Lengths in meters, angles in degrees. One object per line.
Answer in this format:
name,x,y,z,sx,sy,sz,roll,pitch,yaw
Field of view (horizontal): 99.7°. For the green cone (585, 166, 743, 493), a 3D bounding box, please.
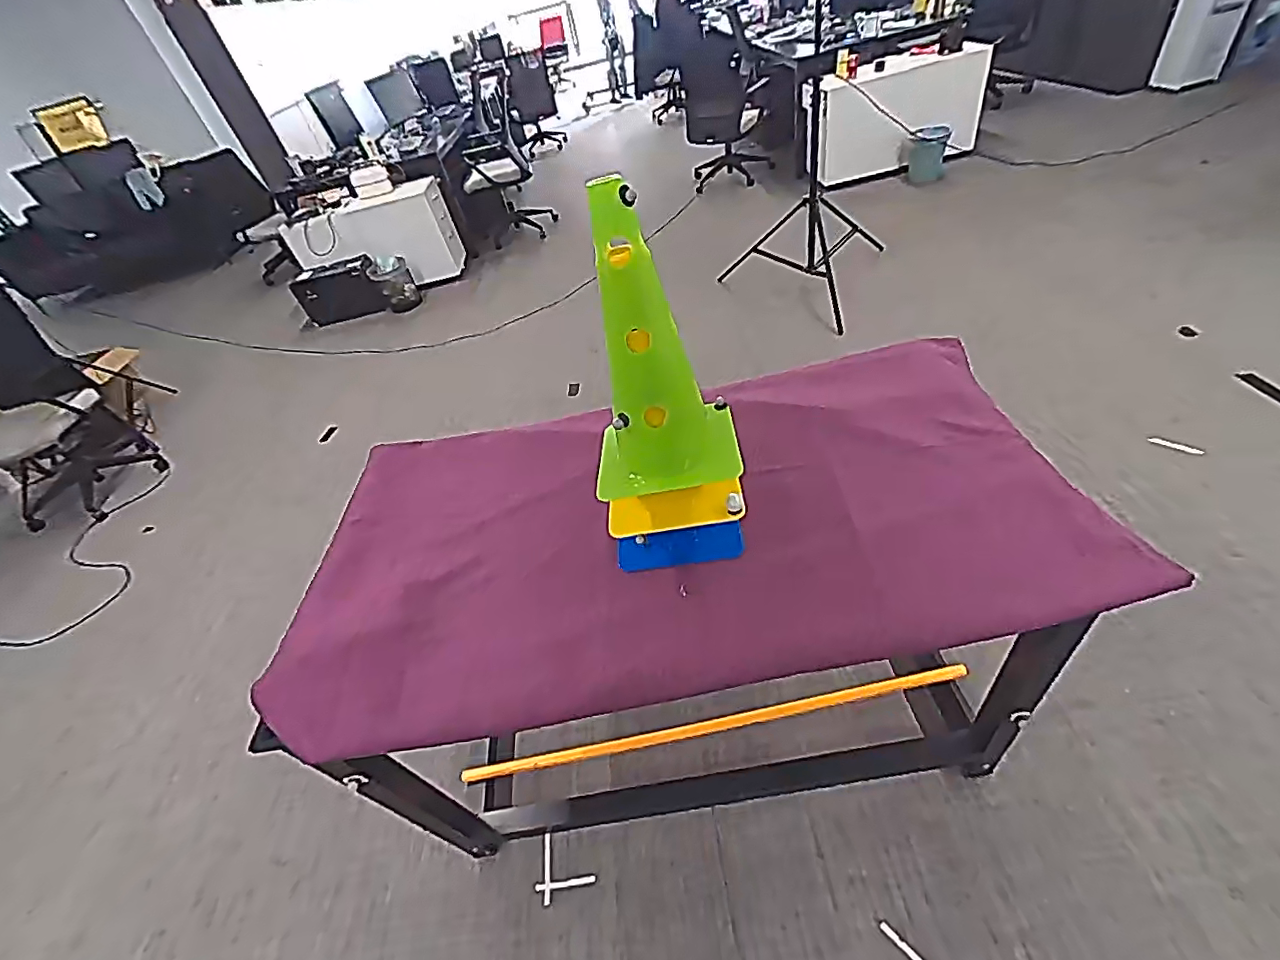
green cone,-0.001,-0.189,0.681,0.200,0.368,0.202,-11,37,8
